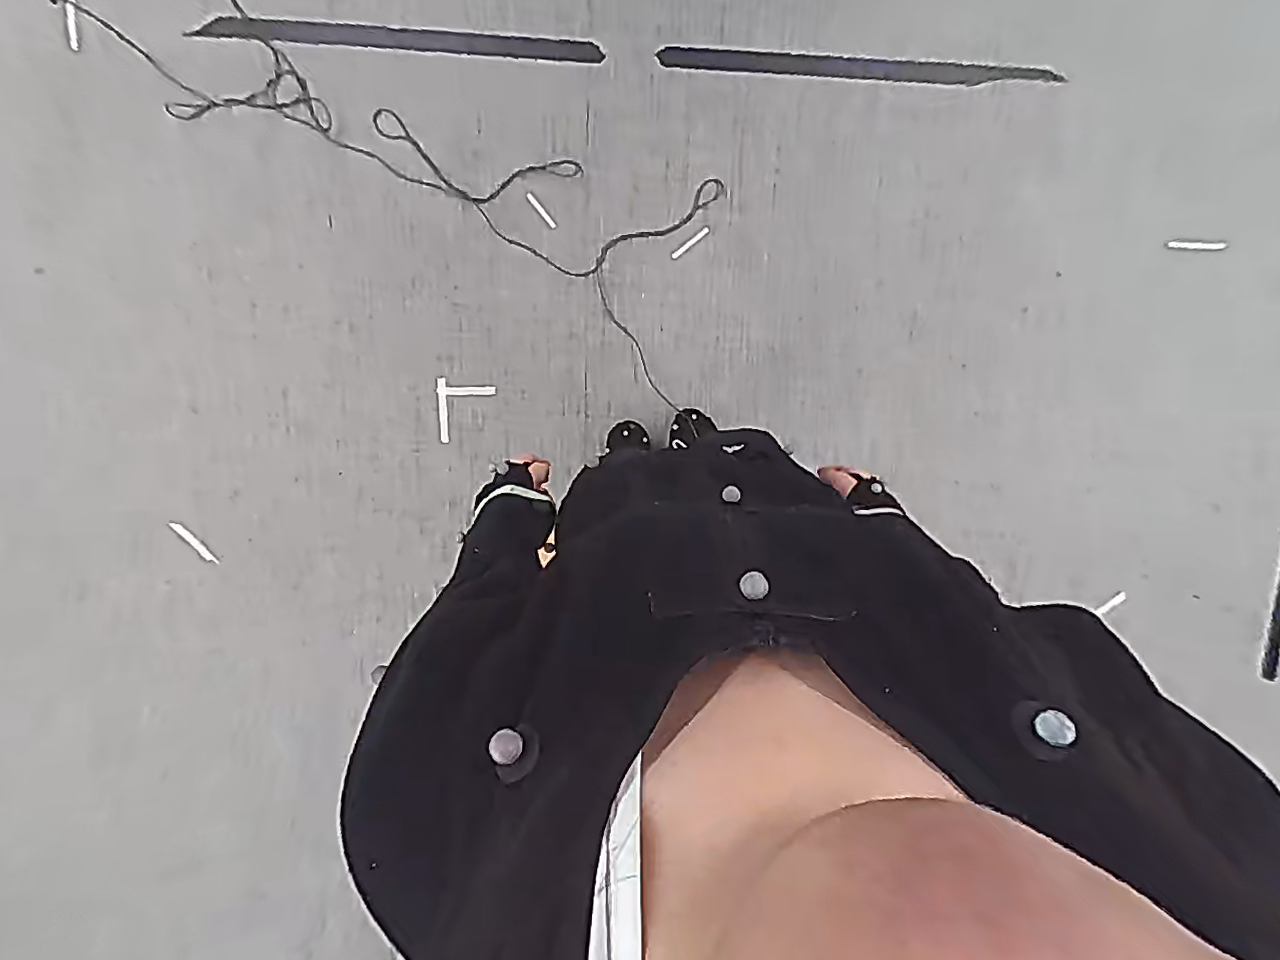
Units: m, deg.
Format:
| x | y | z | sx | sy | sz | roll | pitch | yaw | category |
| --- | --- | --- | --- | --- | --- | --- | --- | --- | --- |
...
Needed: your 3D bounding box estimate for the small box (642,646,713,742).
| x | y | z | sx | sy | sz | roll | pitch | yaw | category |
| --- | --- | --- | --- | --- | --- | --- | --- | --- | --- |
| 0.098 | 0.579 | 1.479 | 0.168 | 0.176 | 0.179 | -8 | 97 | -2 | small box |
